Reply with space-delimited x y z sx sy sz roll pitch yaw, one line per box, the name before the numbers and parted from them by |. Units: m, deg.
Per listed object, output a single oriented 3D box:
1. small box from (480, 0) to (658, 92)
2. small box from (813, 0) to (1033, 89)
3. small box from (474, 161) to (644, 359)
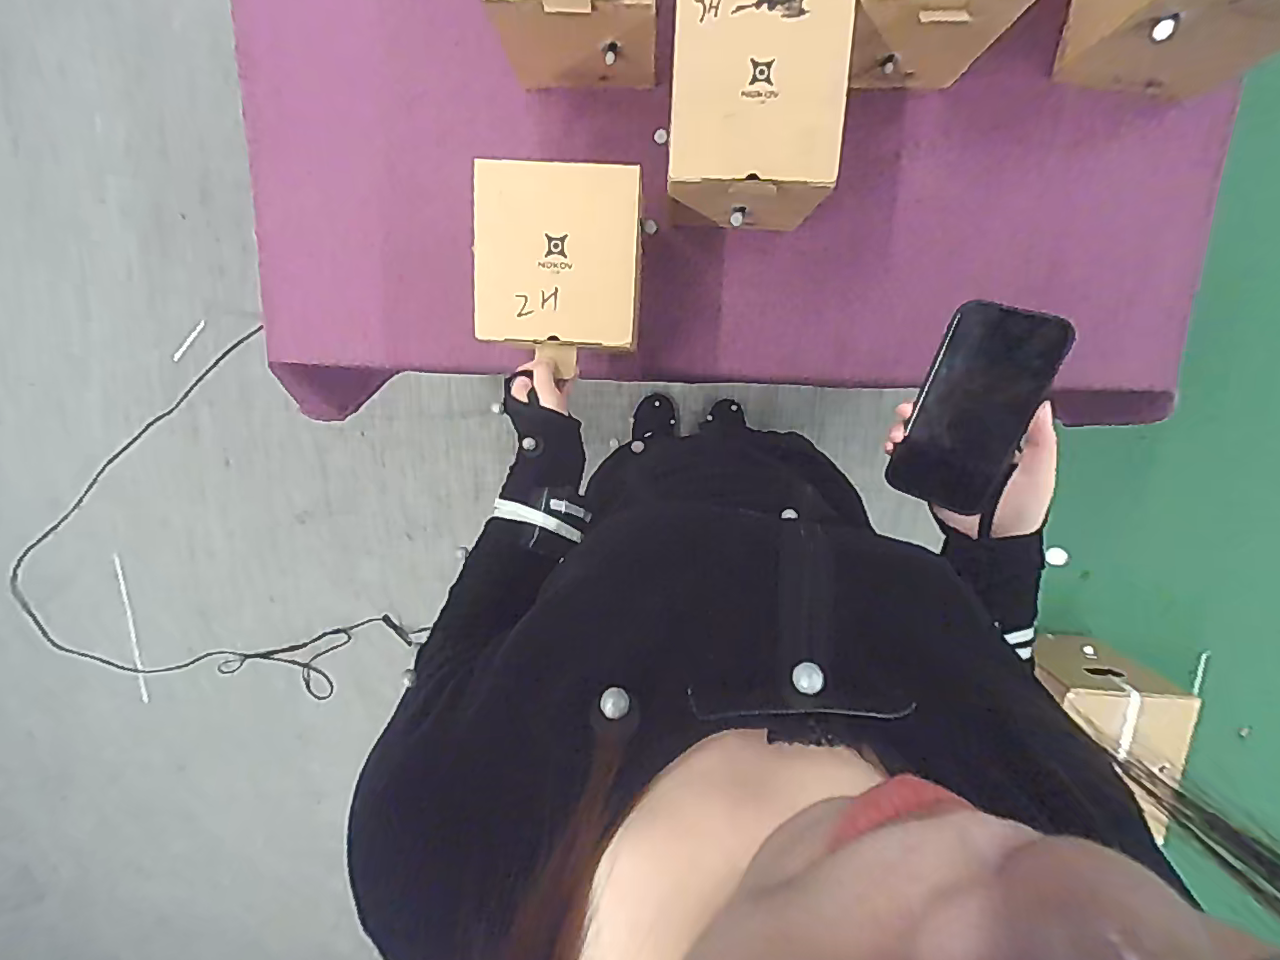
small box | -0.064 -0.541 0.567 0.168 0.176 0.179 2 101 1
small box | 0.285 -0.541 0.554 0.168 0.176 0.179 0 102 2
small box | -0.083 -0.238 0.625 0.168 0.176 0.179 4 100 2
